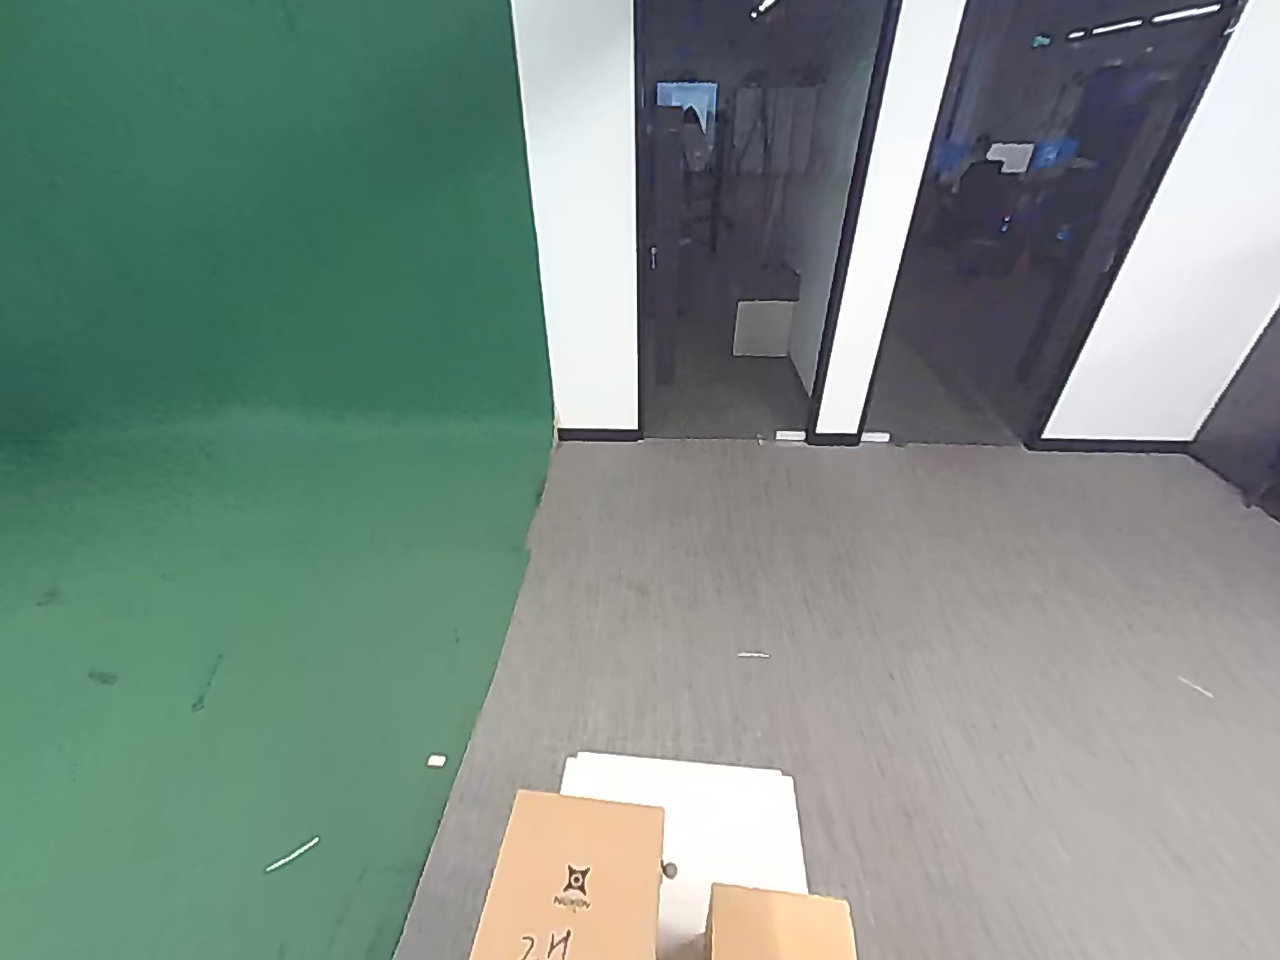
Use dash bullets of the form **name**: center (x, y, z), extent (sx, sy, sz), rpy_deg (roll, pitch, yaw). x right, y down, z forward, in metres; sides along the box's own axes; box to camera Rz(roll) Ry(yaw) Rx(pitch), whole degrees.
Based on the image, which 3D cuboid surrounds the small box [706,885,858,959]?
- **small box**: center (0.162, 0.621, 0.635), extent (0.168, 0.176, 0.179), rpy_deg (2, 35, 7)

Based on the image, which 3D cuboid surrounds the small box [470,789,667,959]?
- **small box**: center (-0.064, 0.466, 0.570), extent (0.168, 0.176, 0.179), rpy_deg (4, 34, 6)
